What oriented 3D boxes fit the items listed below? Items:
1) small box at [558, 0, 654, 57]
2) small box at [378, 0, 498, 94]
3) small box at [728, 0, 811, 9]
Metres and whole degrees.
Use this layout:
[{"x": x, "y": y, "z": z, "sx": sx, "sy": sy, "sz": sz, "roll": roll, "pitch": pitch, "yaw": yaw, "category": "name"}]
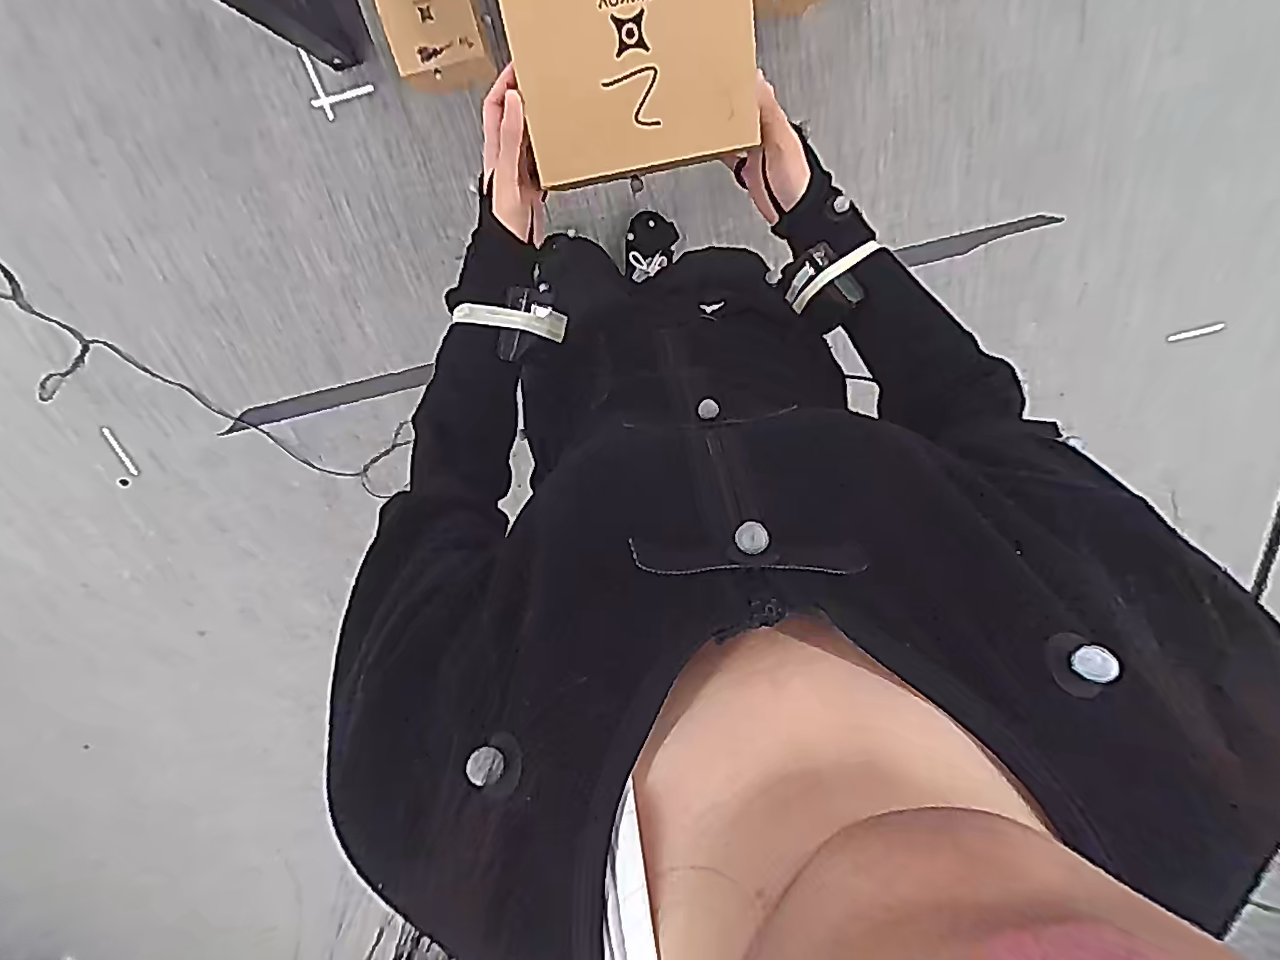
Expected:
[{"x": -0.078, "y": -0.949, "z": 1.024, "sx": 0.168, "sy": 0.176, "sz": 0.179, "roll": -15, "pitch": 116, "yaw": 3, "category": "small box"}, {"x": -0.387, "y": -0.879, "z": 1.035, "sx": 0.168, "sy": 0.176, "sz": 0.179, "roll": -12, "pitch": 114, "yaw": 1, "category": "small box"}, {"x": 0.271, "y": -1.022, "z": 1.018, "sx": 0.179, "sy": 0.176, "sz": 0.168, "roll": 2, "pitch": 115, "yaw": -4, "category": "small box"}]
